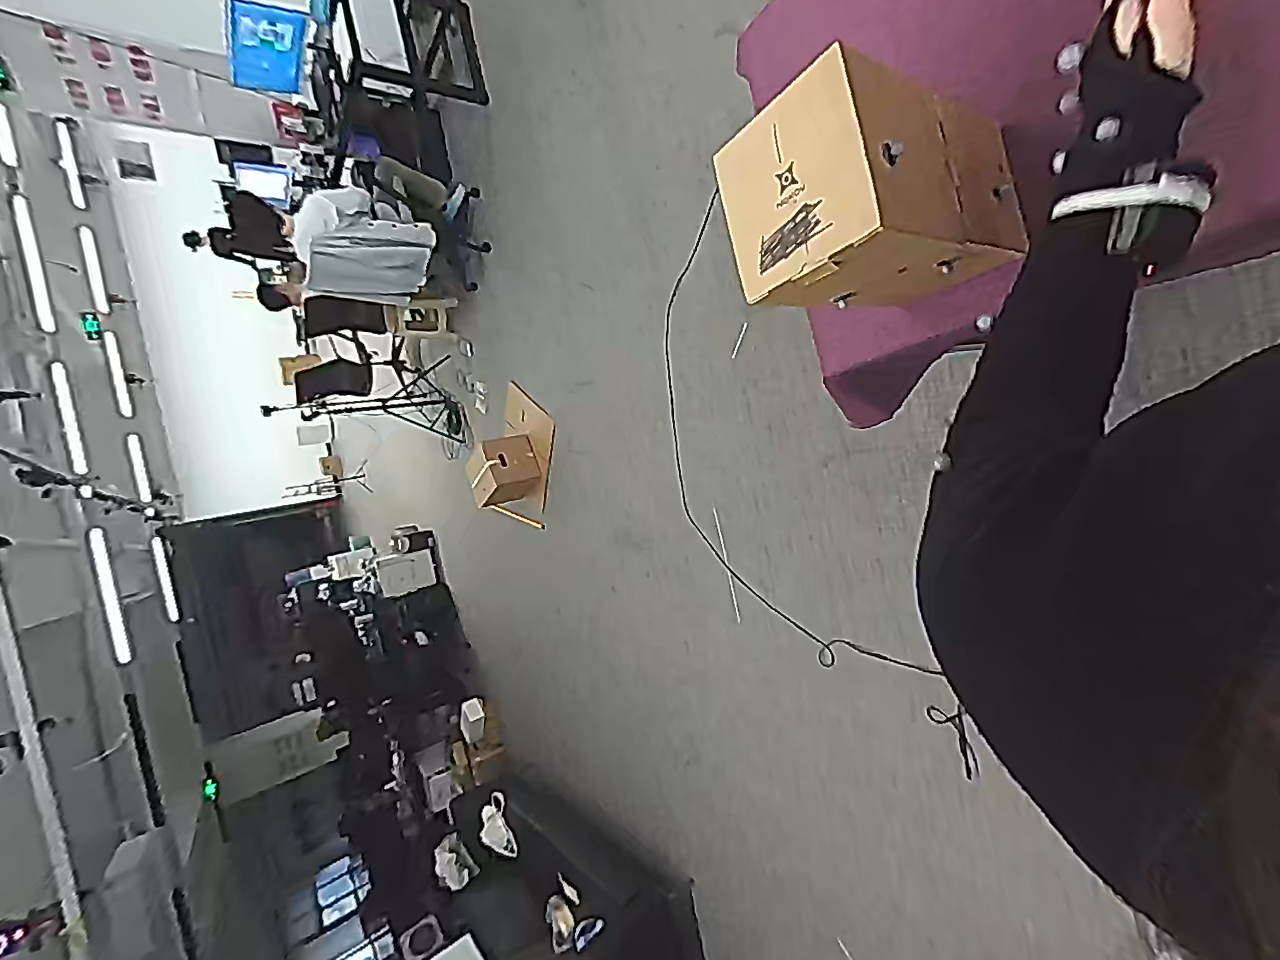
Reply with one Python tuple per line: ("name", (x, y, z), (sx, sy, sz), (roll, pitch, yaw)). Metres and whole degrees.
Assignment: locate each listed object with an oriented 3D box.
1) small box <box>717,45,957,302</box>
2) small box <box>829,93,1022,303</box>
("small box", (0.215, -0.309, 0.591), (0.168, 0.176, 0.179), (-15, 87, 53))
("small box", (0.344, -0.336, 0.689), (0.179, 0.176, 0.168), (-15, 88, 53))
